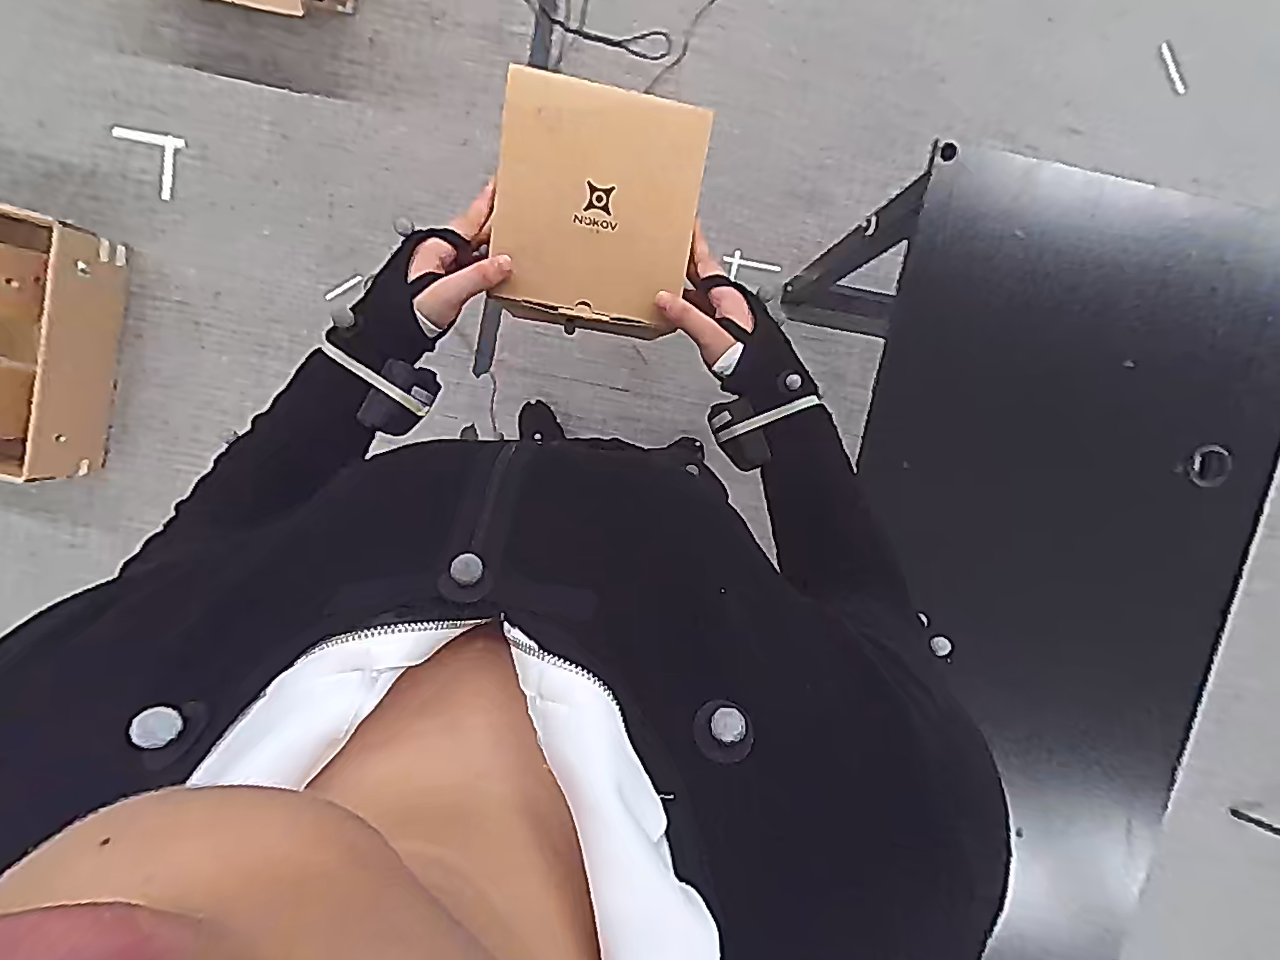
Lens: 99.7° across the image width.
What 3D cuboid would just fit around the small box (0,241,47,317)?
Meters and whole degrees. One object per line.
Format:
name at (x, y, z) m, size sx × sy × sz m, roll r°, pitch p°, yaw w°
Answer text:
small box at (-1.560, -0.488, 1.259) m, size 0.179 × 0.176 × 0.168 m, roll 15°, pitch 97°, yaw -5°

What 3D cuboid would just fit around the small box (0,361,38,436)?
small box at (-1.613, -0.205, 1.290) m, size 0.168 × 0.176 × 0.179 m, roll 12°, pitch 94°, yaw -6°
